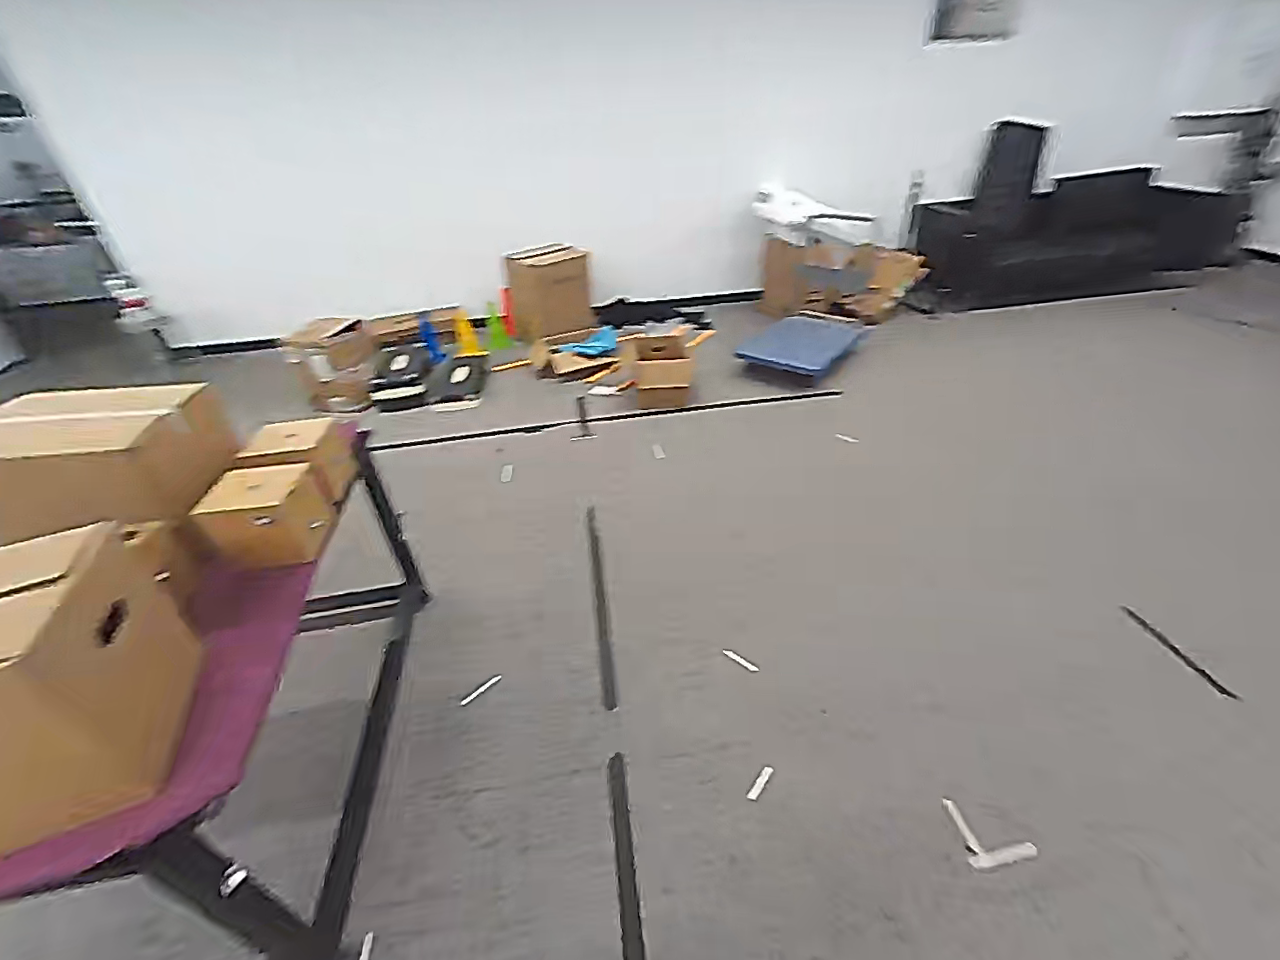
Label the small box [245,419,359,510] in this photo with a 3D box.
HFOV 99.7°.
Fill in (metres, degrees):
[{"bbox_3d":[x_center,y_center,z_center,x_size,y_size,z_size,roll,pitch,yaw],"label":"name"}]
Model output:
[{"bbox_3d":[-0.864,-0.040,1.406,0.179,0.176,0.168,-7,34,-4],"label":"small box"}]
